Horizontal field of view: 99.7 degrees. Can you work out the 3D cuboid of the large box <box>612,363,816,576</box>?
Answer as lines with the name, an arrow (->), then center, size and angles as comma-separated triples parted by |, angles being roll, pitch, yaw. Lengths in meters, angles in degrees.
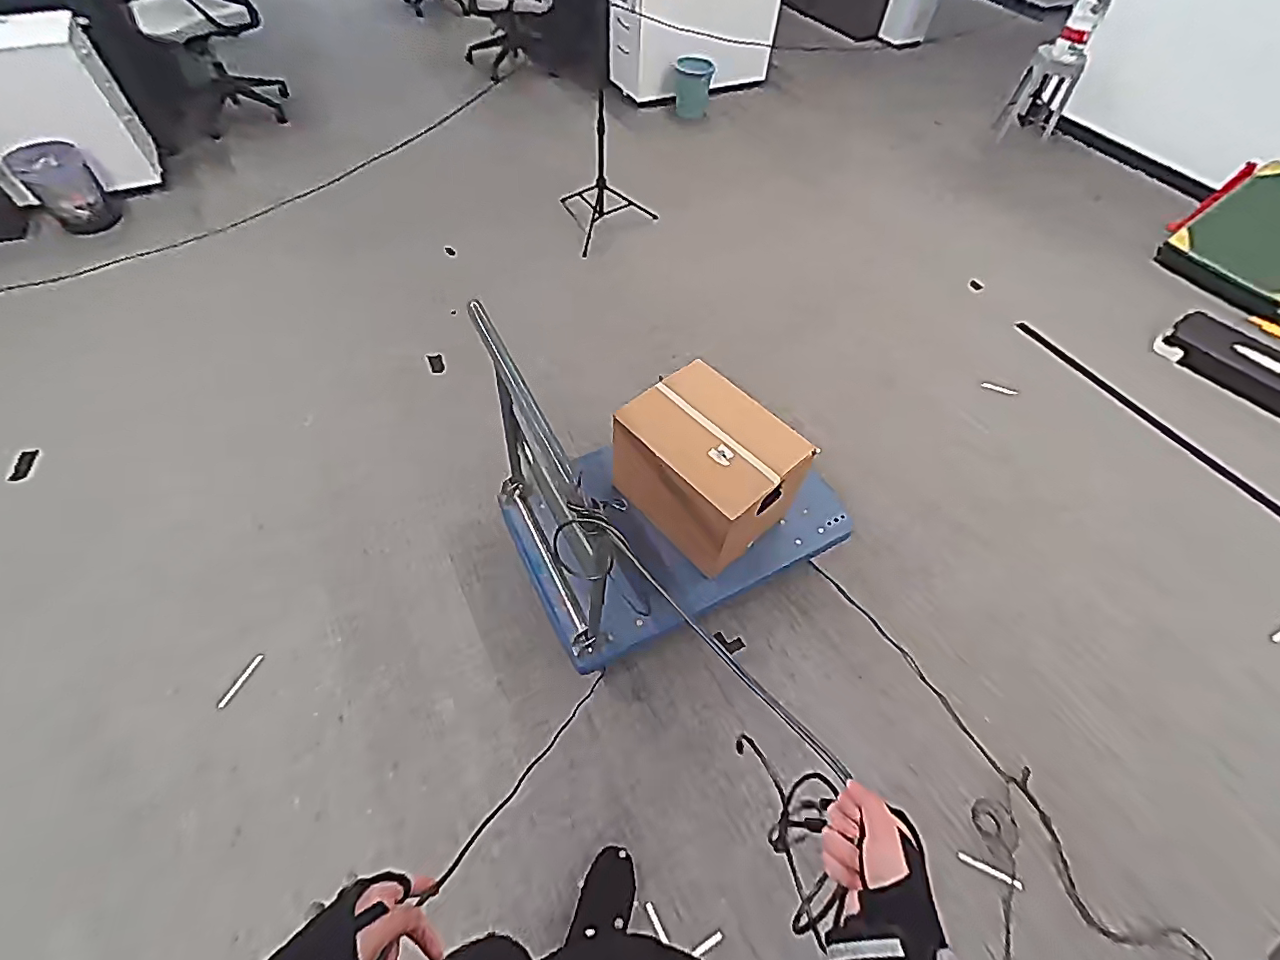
large box -> 0.169, -0.030, 1.431 | 0.320, 0.320, 0.408 | -36, 65, -24
